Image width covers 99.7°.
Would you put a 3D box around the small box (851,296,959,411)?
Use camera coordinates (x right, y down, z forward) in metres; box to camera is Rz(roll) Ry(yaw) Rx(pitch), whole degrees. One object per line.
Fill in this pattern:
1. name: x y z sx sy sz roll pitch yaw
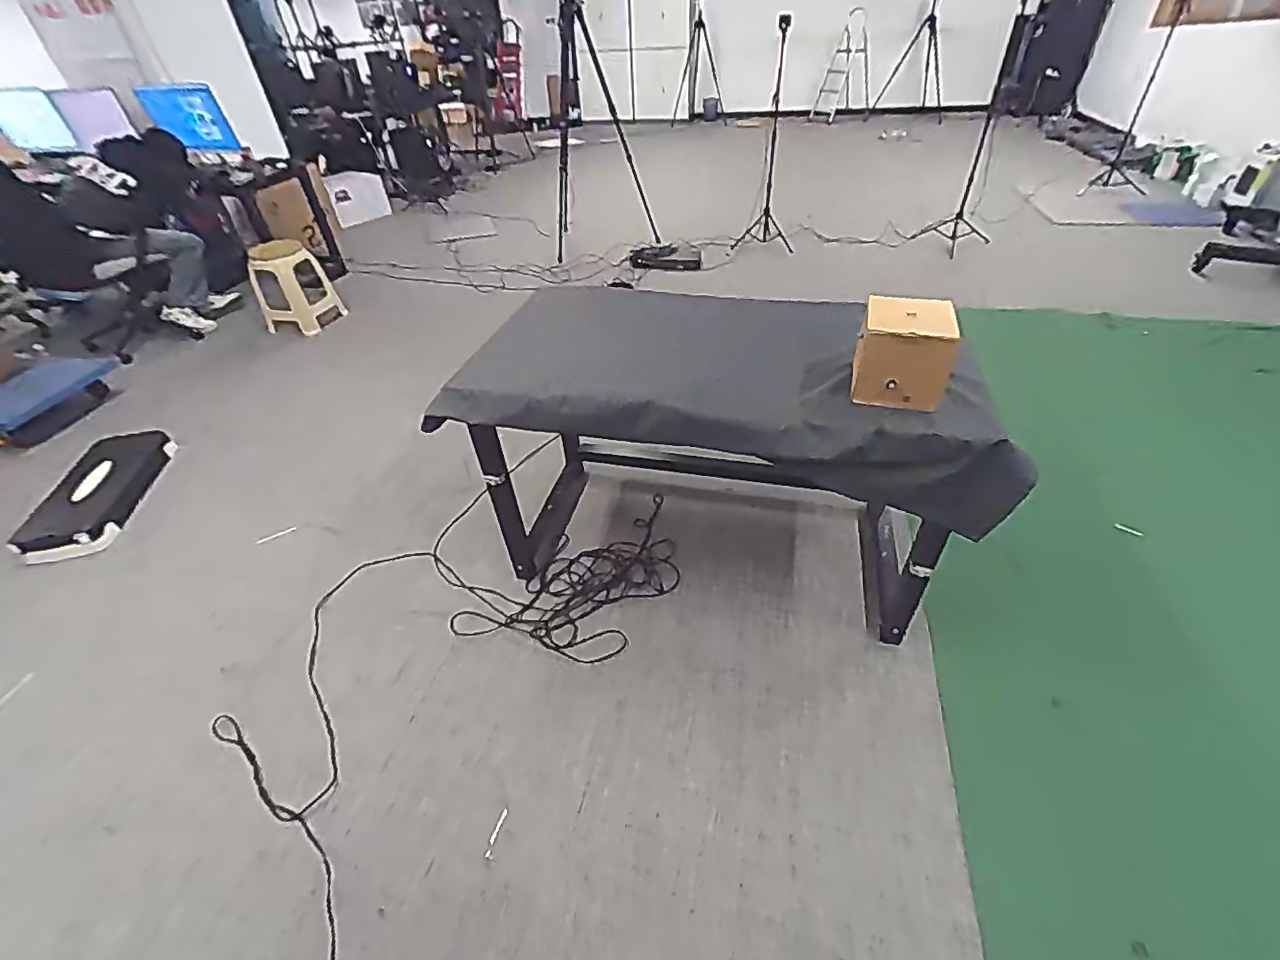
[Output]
1. small box: 0.547 -0.268 1.138 0.168 0.176 0.179 10 42 16
